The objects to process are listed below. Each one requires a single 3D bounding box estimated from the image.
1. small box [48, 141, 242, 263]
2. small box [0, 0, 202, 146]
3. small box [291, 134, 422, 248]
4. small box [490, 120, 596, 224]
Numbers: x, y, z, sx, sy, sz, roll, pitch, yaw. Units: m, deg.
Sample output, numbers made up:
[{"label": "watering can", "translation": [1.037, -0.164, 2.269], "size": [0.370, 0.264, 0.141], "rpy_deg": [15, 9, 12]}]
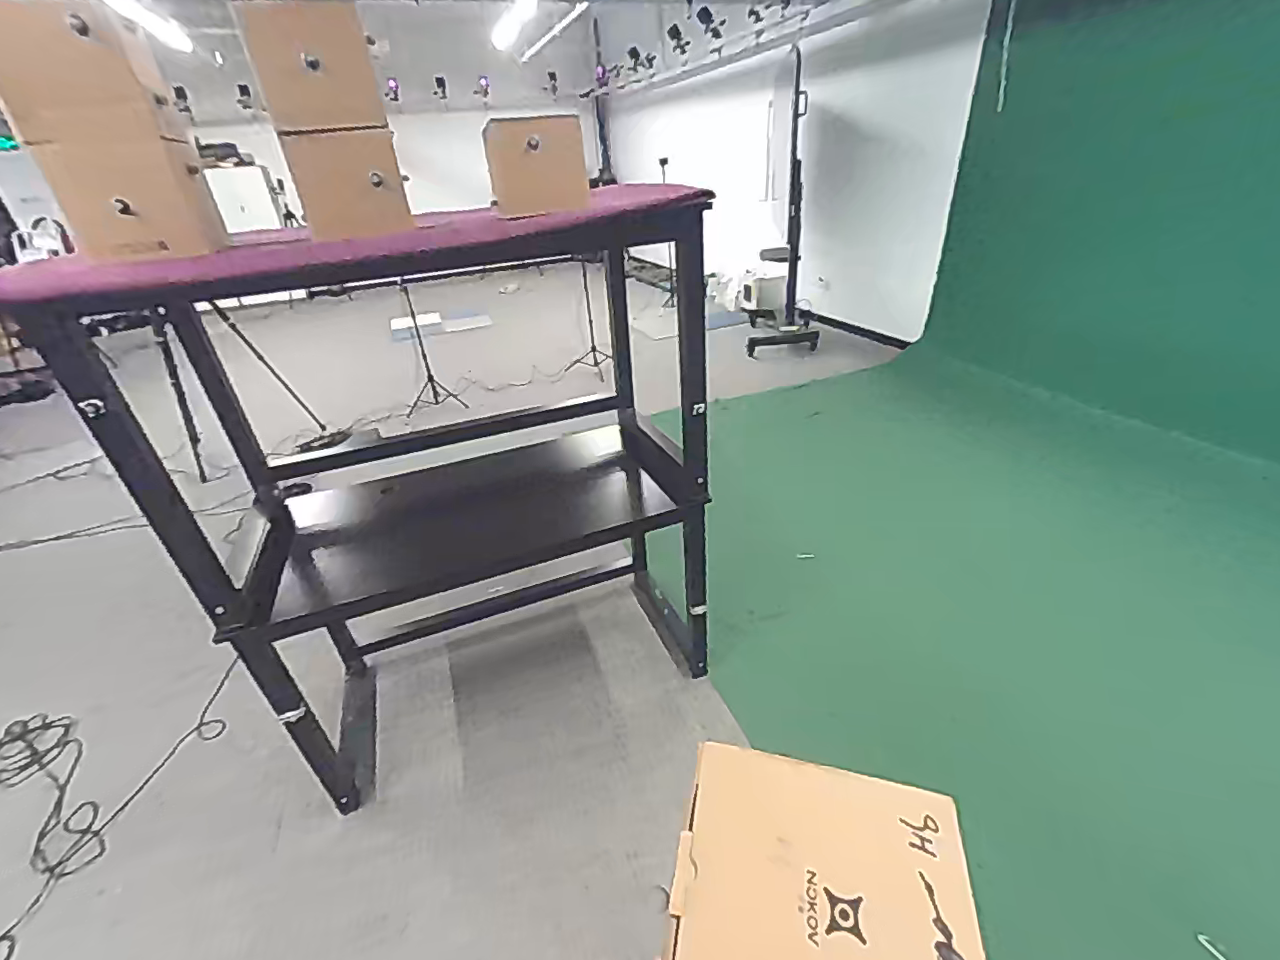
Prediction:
[{"label": "small box", "translation": [-0.813, -0.468, 0.916], "size": [0.168, 0.176, 0.179], "rpy_deg": [-14, 31, -18]}, {"label": "small box", "translation": [-0.827, -0.607, 0.832], "size": [0.179, 0.176, 0.168], "rpy_deg": [-15, 33, -20]}, {"label": "small box", "translation": [-0.518, -0.543, 1.017], "size": [0.179, 0.176, 0.168], "rpy_deg": [-16, 31, -17]}, {"label": "small box", "translation": [-0.203, -0.638, 1.135], "size": [0.179, 0.176, 0.168], "rpy_deg": [-13, 29, -15]}]
